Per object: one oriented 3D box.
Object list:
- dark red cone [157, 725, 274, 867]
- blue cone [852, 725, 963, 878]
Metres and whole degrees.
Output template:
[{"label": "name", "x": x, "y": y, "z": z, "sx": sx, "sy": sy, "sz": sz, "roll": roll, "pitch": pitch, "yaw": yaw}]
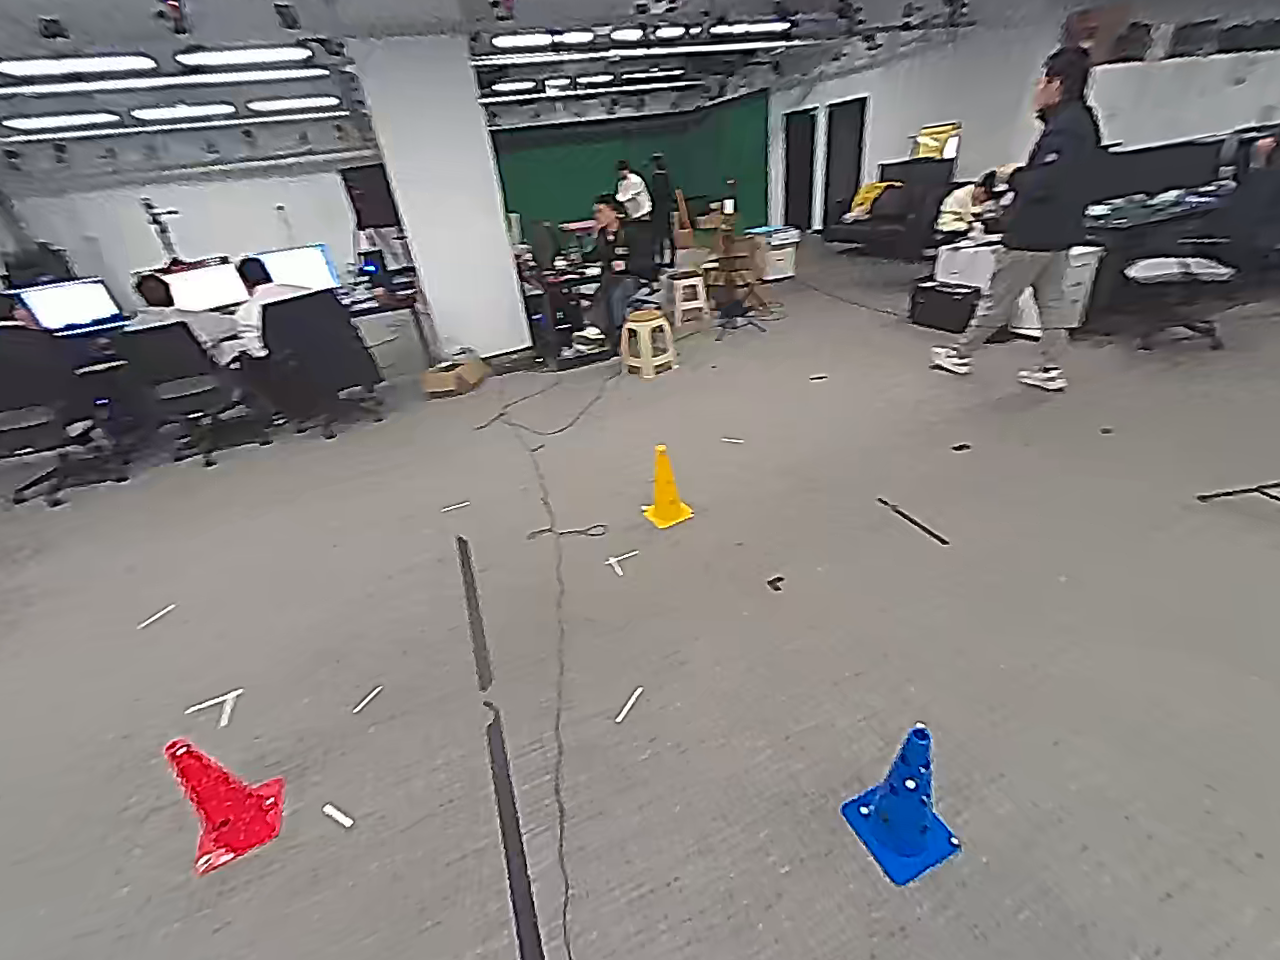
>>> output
[{"label": "dark red cone", "x": -1.132, "y": 0.780, "z": 1.400, "sx": 0.201, "sy": 0.394, "sz": 0.202, "roll": -20, "pitch": 32, "yaw": -23}, {"label": "blue cone", "x": 0.615, "y": 0.686, "z": 1.210, "sx": 0.192, "sy": 0.380, "sz": 0.193, "roll": -15, "pitch": 30, "yaw": -15}]
